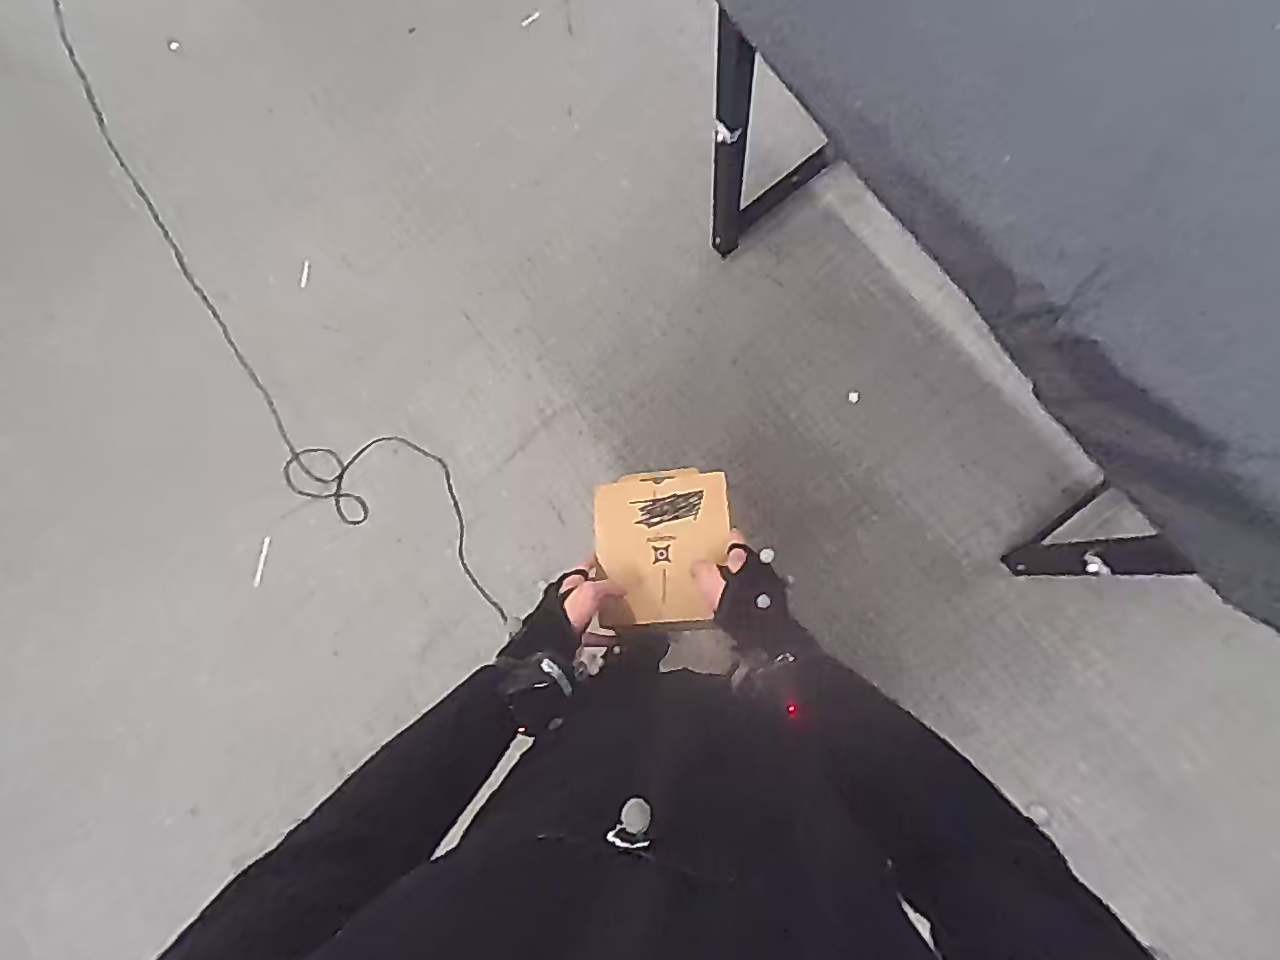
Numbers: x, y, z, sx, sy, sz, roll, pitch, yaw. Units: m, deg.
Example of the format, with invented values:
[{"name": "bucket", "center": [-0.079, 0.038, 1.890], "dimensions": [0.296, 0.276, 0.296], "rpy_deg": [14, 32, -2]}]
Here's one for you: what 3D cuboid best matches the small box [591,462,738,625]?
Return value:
[{"name": "small box", "center": [0.037, 0.092, 0.705], "dimensions": [0.168, 0.176, 0.179], "rpy_deg": [-6, 72, 11]}]
